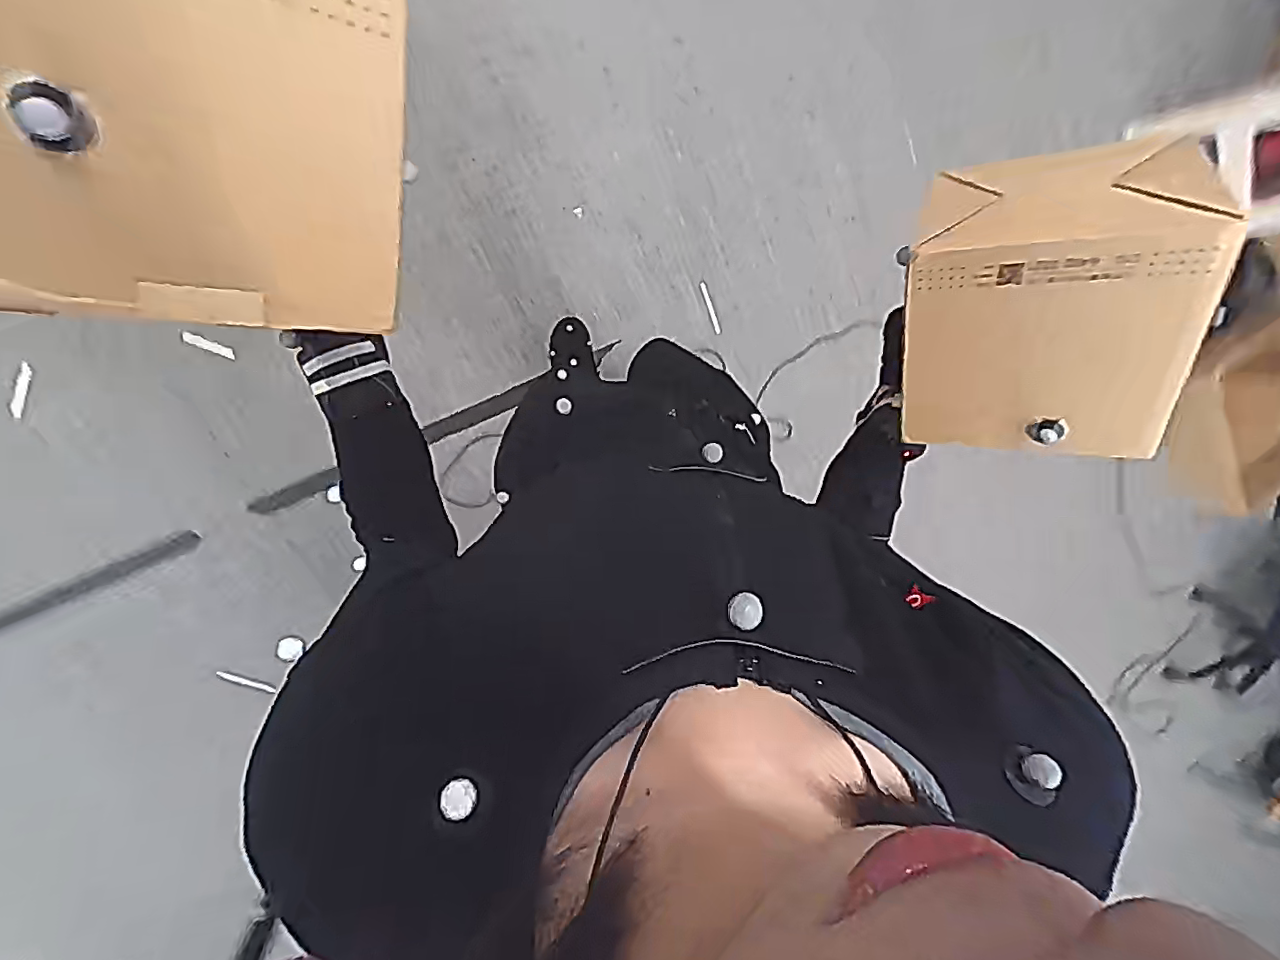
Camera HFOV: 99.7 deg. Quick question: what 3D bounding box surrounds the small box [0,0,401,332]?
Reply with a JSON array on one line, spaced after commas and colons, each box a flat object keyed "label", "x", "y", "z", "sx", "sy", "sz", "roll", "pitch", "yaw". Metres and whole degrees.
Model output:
[{"label": "small box", "x": -0.223, "y": -0.189, "z": 0.268, "sx": 0.168, "sy": 0.179, "sz": 0.176, "roll": -6, "pitch": 130, "yaw": -33}]

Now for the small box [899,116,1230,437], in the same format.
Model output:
[{"label": "small box", "x": 0.302, "y": -0.154, "z": 0.419, "sx": 0.179, "sy": 0.168, "sz": 0.176, "roll": -57, "pitch": 139, "yaw": -37}]
